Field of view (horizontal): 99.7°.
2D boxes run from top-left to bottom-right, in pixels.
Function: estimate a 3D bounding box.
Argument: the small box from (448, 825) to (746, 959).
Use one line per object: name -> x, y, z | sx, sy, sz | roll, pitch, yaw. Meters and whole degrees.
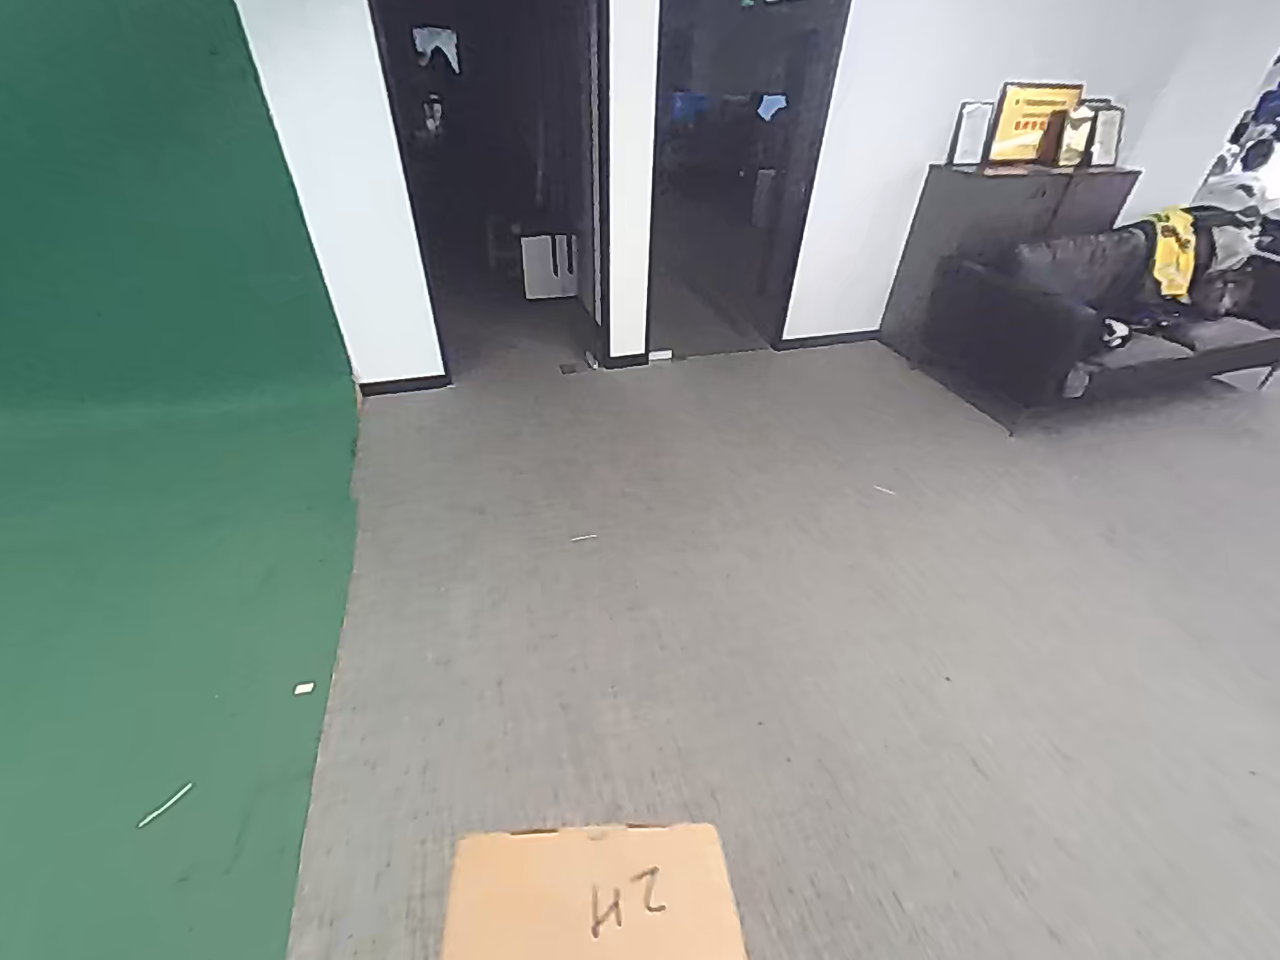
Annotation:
small box -> -0.035, 0.336, 0.321 | 0.168, 0.176, 0.179 | 8, 35, -13
